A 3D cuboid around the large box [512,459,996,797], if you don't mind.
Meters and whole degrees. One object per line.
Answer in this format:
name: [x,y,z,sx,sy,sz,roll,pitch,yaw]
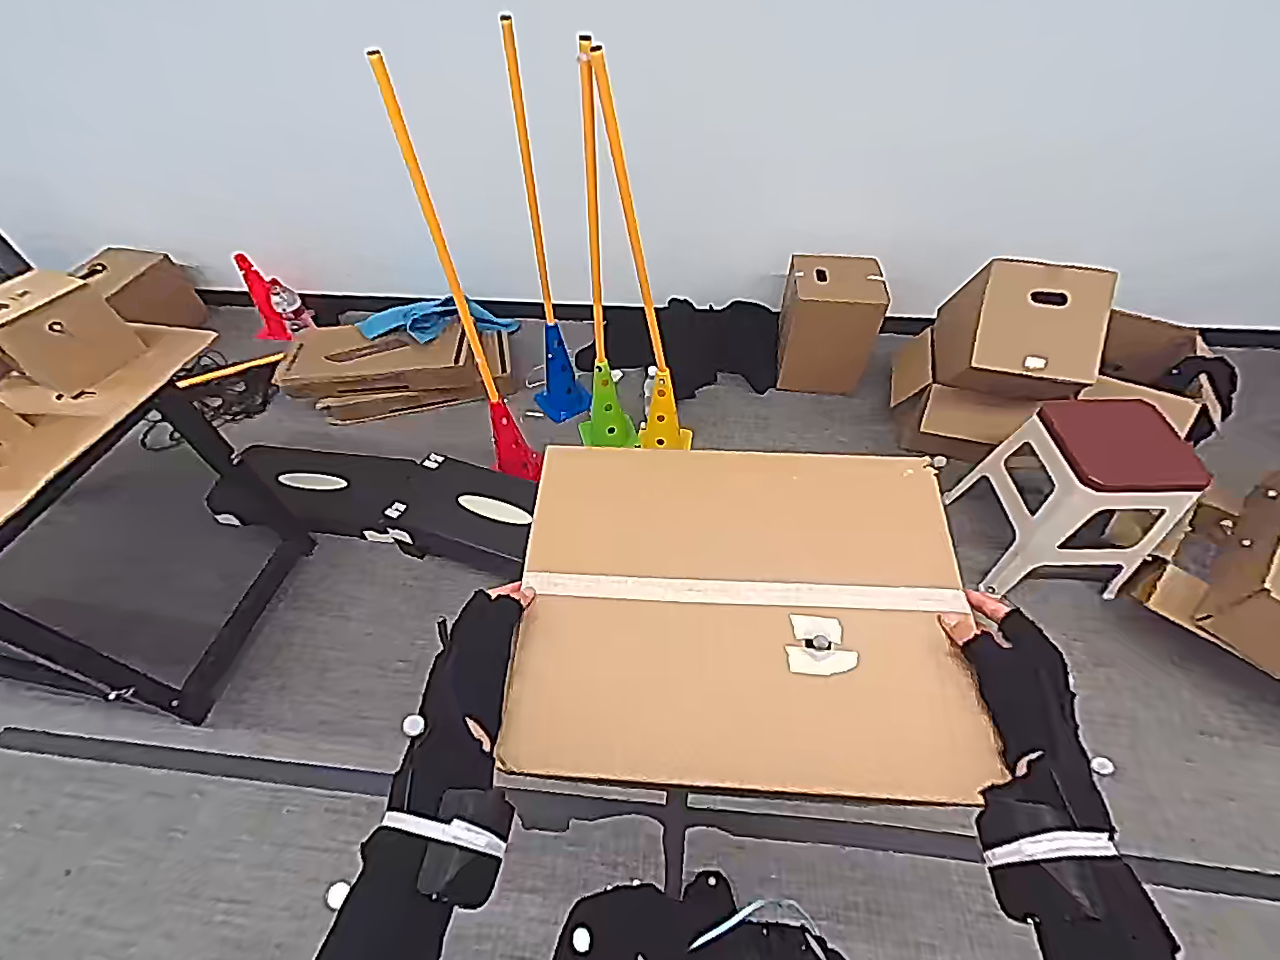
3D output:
large box: [0.099,0.188,0.643,0.408,0.320,0.320,2,60,4]
